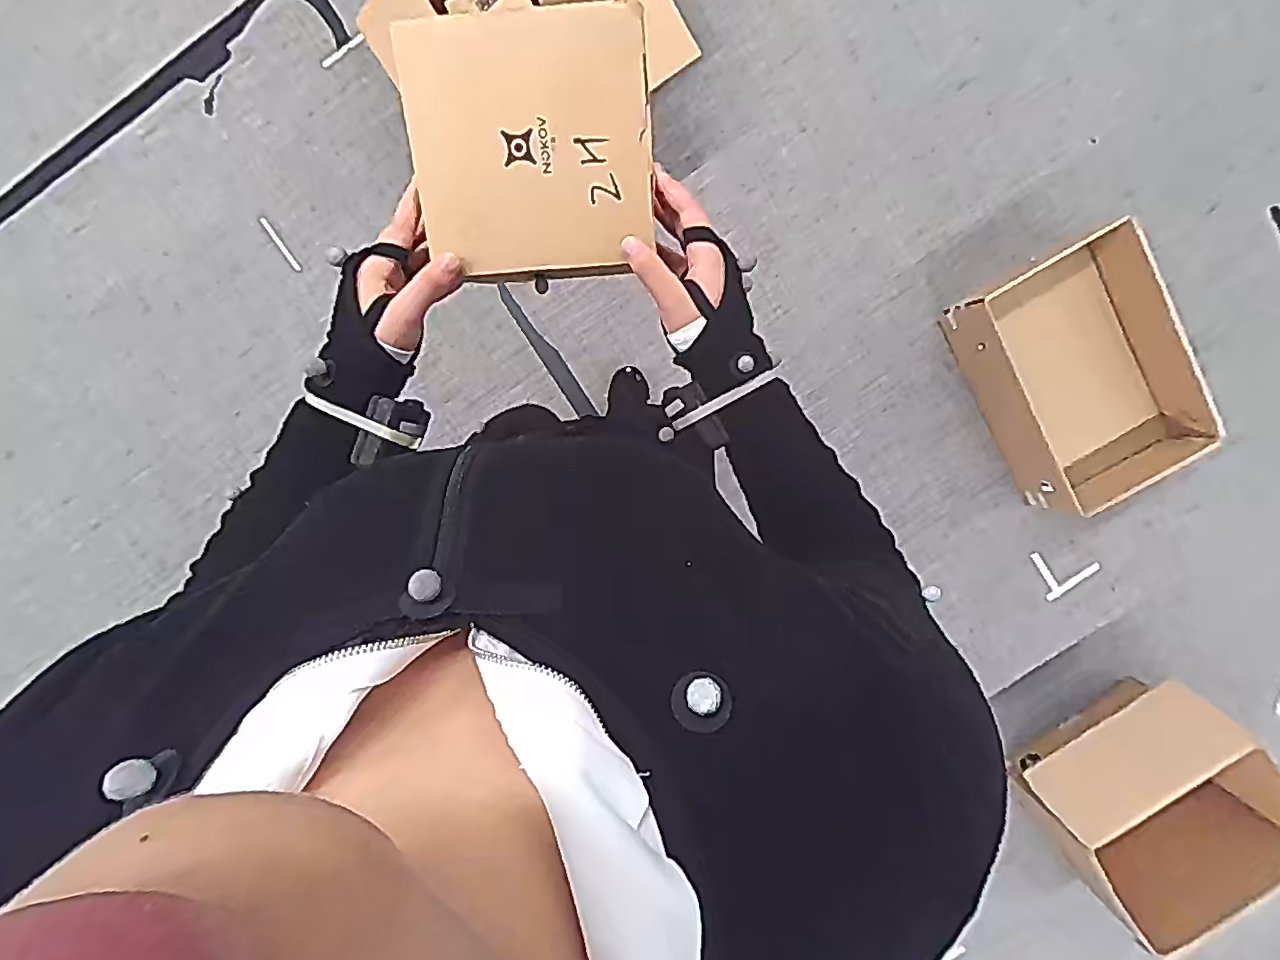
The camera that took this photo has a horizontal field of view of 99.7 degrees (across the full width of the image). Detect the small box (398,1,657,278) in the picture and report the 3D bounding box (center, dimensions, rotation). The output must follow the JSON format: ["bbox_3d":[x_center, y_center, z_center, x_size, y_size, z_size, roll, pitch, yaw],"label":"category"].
[{"bbox_3d":[-0.077,-0.271,0.473,0.179,0.176,0.168,-4,109,1],"label":"small box"}]
